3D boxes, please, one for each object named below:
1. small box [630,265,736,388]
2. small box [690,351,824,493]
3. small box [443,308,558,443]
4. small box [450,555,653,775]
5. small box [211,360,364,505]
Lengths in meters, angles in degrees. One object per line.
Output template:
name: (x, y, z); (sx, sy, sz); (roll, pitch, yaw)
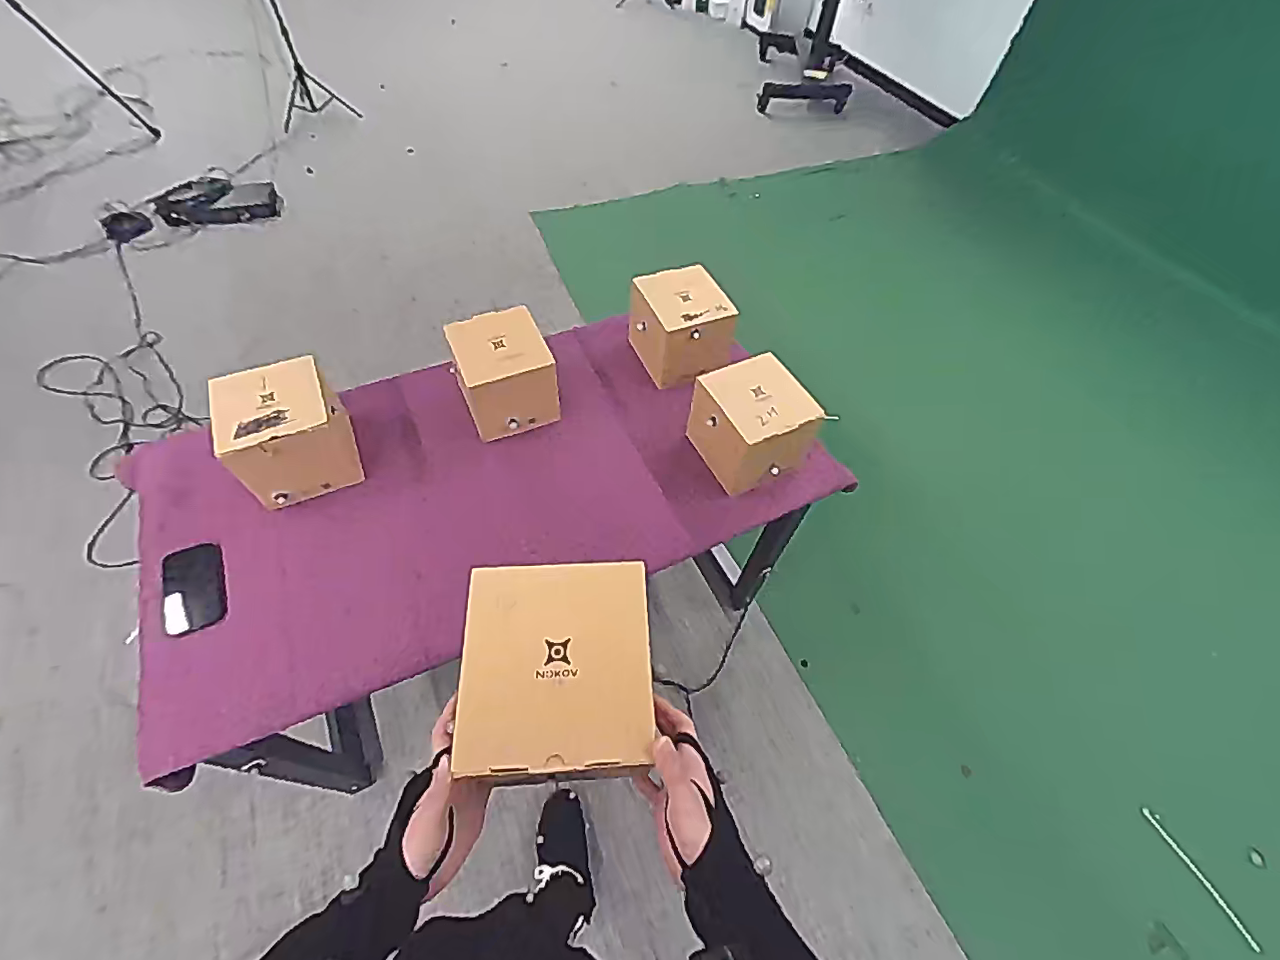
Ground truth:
small box: (0.084, -0.332, 1.174); (0.168, 0.176, 0.179); (-20, 59, -15)
small box: (0.208, -0.107, 1.024); (0.168, 0.176, 0.179); (-22, 60, -16)
small box: (-0.270, -0.204, 1.067); (0.168, 0.176, 0.179); (-20, 60, -15)
small box: (-0.079, 0.190, 0.544); (0.168, 0.176, 0.179); (-2, 60, -4)
small box: (-0.614, -0.075, 0.956); (0.168, 0.176, 0.179); (-21, 60, -17)
